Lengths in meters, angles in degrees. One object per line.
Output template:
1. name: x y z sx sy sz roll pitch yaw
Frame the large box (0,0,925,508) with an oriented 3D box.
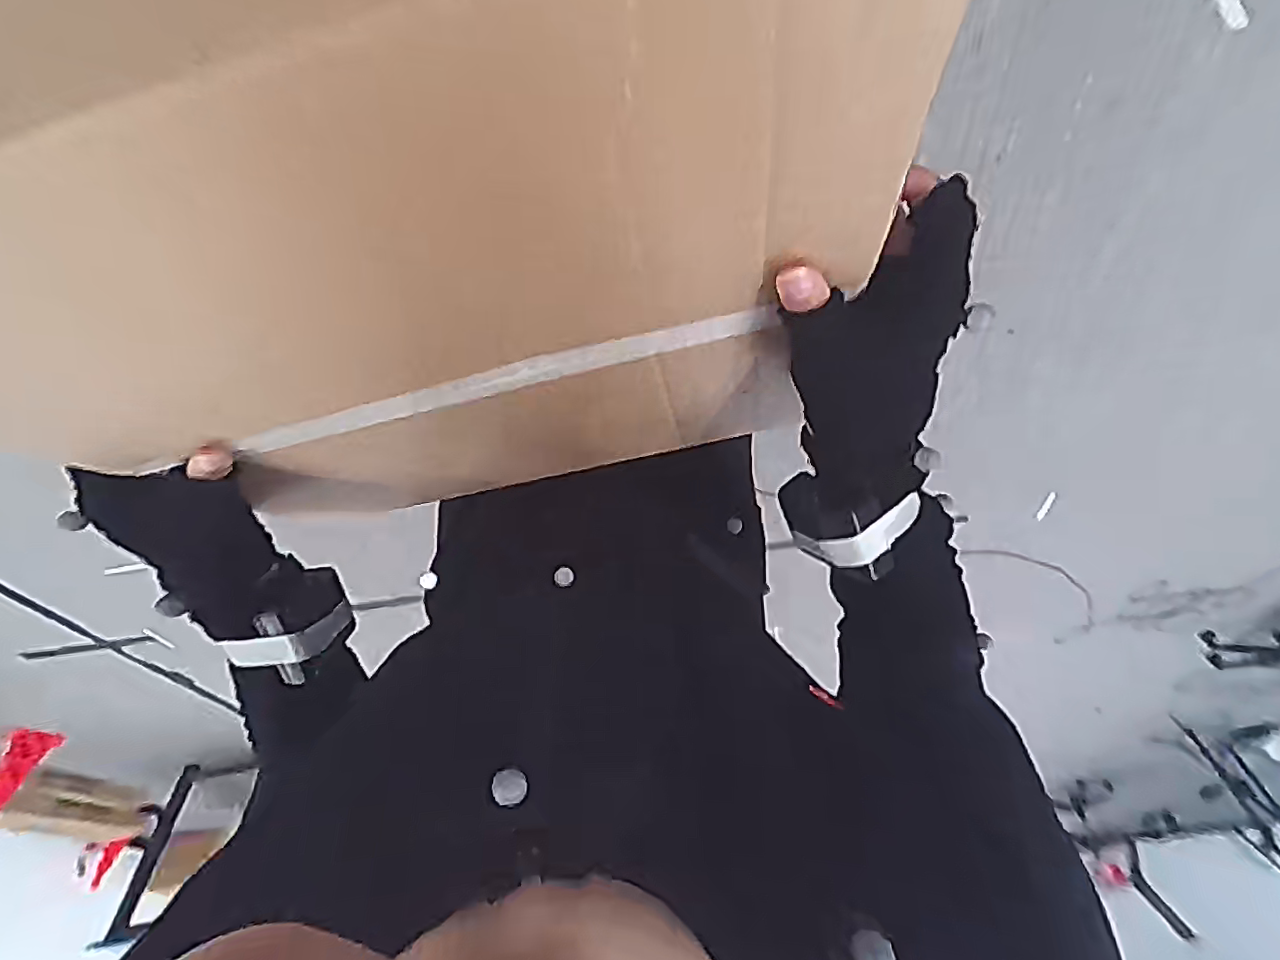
1. large box: -0.116 -0.200 0.330 0.408 0.320 0.320 -12 163 7
